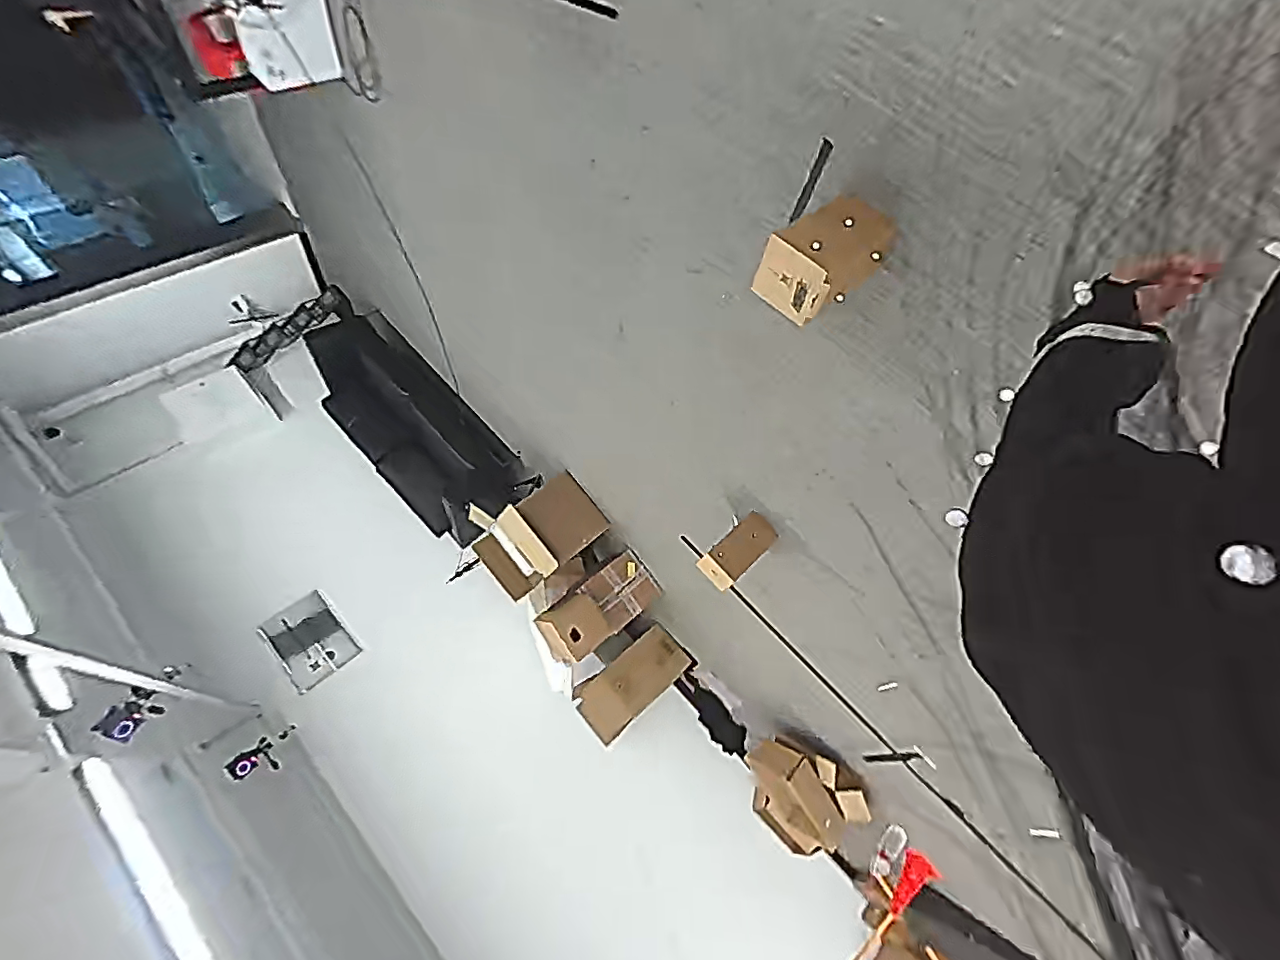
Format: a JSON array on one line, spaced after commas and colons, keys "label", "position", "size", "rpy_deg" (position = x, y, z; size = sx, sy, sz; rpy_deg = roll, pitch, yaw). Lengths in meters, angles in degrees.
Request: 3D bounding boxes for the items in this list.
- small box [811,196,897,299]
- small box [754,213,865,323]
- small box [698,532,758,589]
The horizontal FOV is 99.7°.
[{"label": "small box", "position": [0.539, -0.622, 1.432], "size": [0.179, 0.176, 0.168], "rpy_deg": [44, 151, 19]}, {"label": "small box", "position": [0.423, -0.536, 1.353], "size": [0.179, 0.176, 0.168], "rpy_deg": [44, 151, 18]}, {"label": "small box", "position": [0.400, 0.359, 2.457], "size": [0.179, 0.176, 0.168], "rpy_deg": [46, 153, 11]}]
